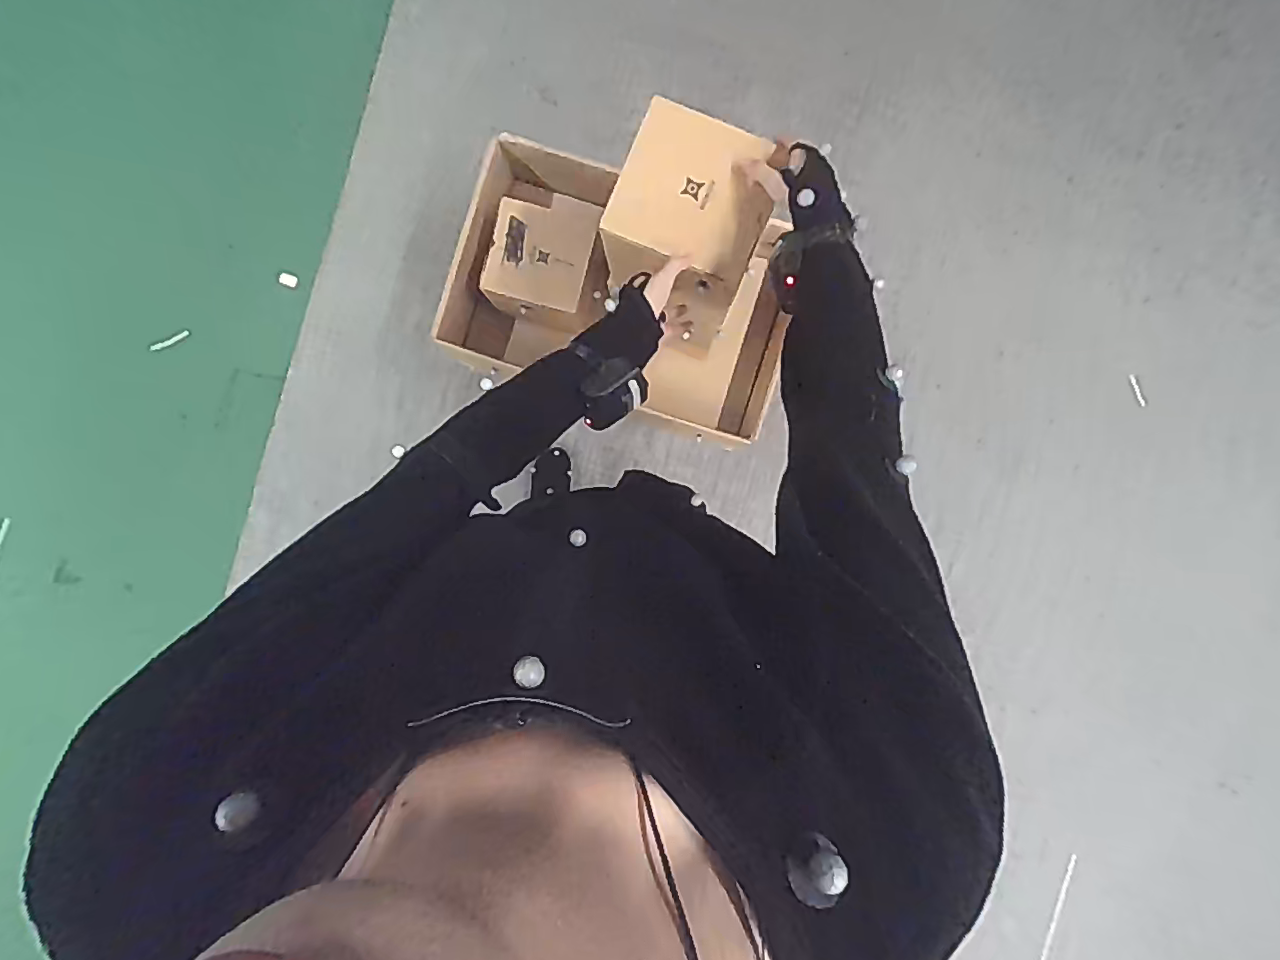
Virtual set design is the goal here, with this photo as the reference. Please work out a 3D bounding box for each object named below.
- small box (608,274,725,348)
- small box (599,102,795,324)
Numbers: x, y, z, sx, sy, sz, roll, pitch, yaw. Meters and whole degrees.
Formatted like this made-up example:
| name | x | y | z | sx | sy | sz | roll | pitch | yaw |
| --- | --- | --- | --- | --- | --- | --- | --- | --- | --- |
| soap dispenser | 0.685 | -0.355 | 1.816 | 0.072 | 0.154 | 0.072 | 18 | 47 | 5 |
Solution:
| name | x | y | z | sx | sy | sz | roll | pitch | yaw |
| --- | --- | --- | --- | --- | --- | --- | --- | --- | --- |
| small box | 0.067 | -0.322 | 0.848 | 0.179 | 0.176 | 0.168 | 22 | 91 | 2 |
| small box | 0.065 | -0.320 | 0.687 | 0.179 | 0.176 | 0.168 | 24 | 91 | 1 |
